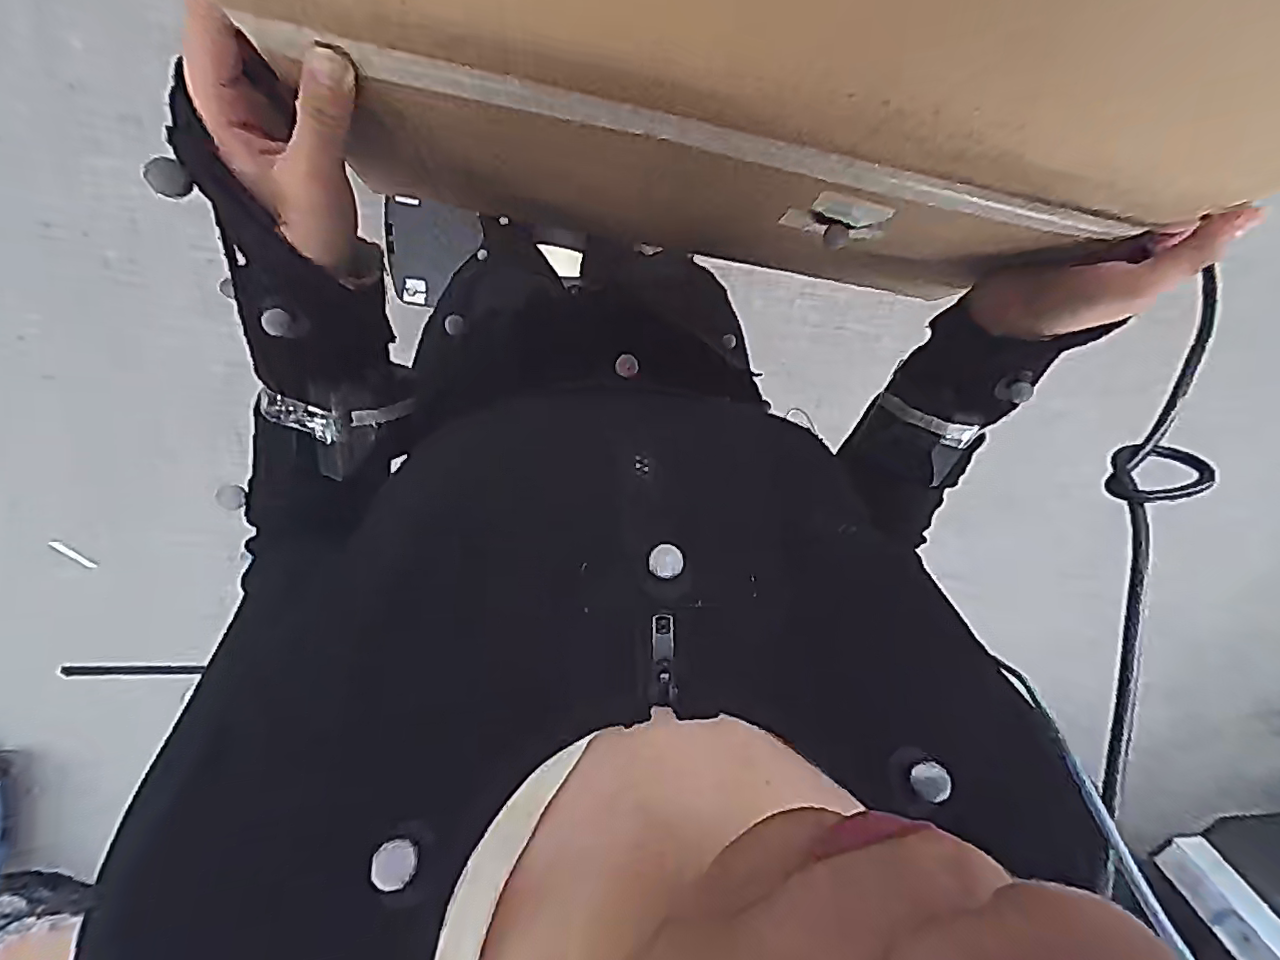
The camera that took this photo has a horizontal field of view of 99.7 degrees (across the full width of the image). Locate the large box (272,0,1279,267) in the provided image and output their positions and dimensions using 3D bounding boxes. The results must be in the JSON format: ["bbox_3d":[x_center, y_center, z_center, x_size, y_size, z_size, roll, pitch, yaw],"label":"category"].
[{"bbox_3d":[0.079,-0.304,0.190,0.408,0.320,0.320,6,96,-9],"label":"large box"}]
